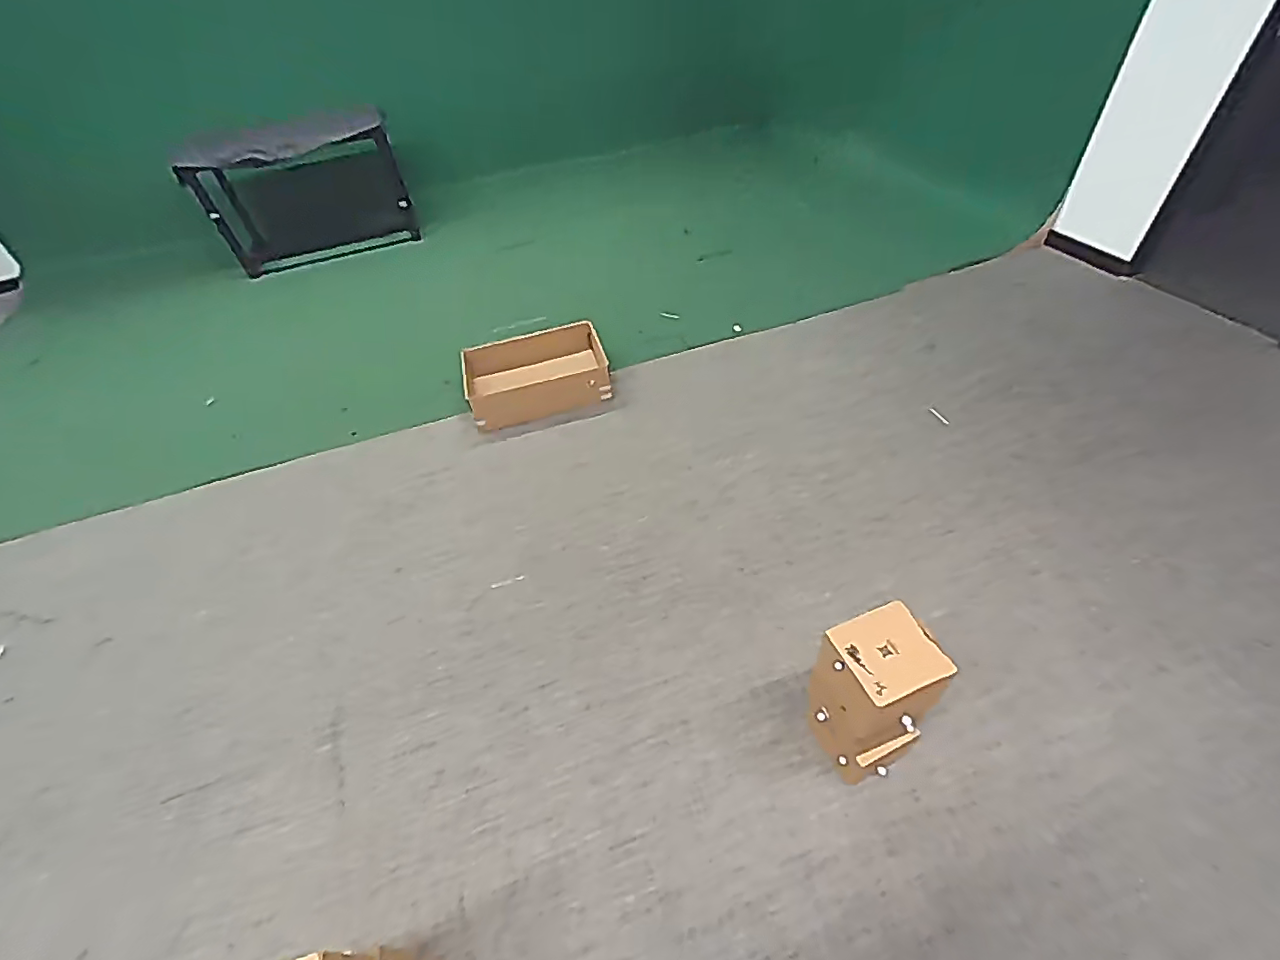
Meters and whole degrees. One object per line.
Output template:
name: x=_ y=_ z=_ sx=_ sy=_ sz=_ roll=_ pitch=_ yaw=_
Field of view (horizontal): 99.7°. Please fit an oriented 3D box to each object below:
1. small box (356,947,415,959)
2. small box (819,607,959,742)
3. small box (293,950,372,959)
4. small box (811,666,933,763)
small box: x=-0.497 y=0.924 z=0.914 sx=0.179 sy=0.176 sz=0.168 roll=-16 pitch=46 yaw=-6
small box: x=0.481 y=0.388 z=1.076 sx=0.179 sy=0.176 sz=0.168 roll=-18 pitch=46 yaw=-10
small box: x=-0.516 y=0.822 z=0.786 sx=0.179 sy=0.176 sz=0.168 roll=-16 pitch=47 yaw=-6
small box: x=0.501 y=0.495 z=1.200 sx=0.179 sy=0.176 sz=0.168 roll=-19 pitch=46 yaw=-9
